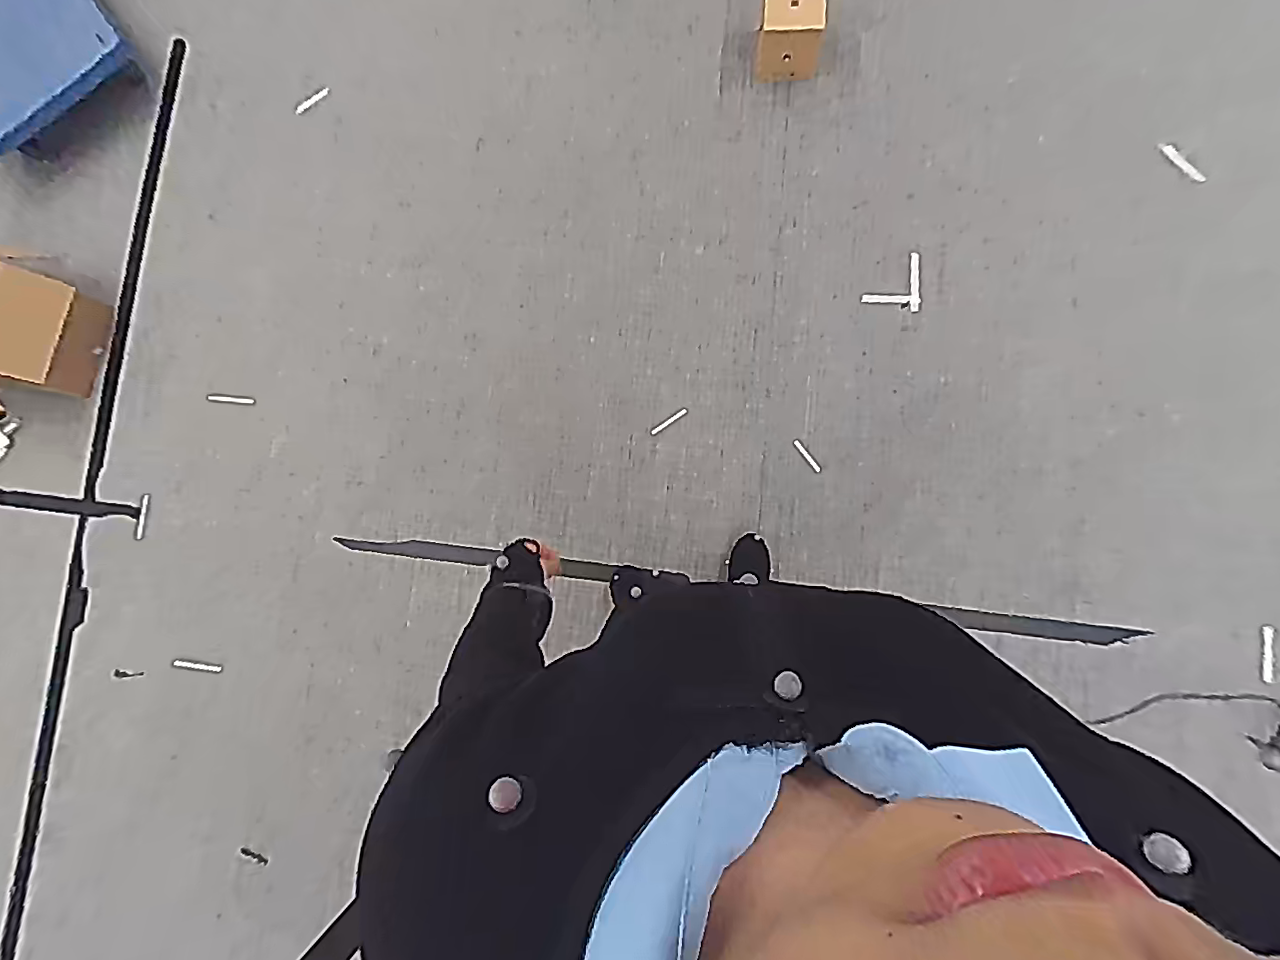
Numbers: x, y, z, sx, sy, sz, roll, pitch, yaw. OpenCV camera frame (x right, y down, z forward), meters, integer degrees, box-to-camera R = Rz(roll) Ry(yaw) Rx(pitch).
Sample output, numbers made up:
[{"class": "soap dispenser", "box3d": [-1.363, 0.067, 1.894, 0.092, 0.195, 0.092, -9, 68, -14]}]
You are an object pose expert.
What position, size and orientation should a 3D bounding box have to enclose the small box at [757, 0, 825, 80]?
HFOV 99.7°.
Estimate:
[{"class": "small box", "box3d": [0.431, -1.293, 1.555, 0.168, 0.176, 0.179, 3, 84, 5]}]
